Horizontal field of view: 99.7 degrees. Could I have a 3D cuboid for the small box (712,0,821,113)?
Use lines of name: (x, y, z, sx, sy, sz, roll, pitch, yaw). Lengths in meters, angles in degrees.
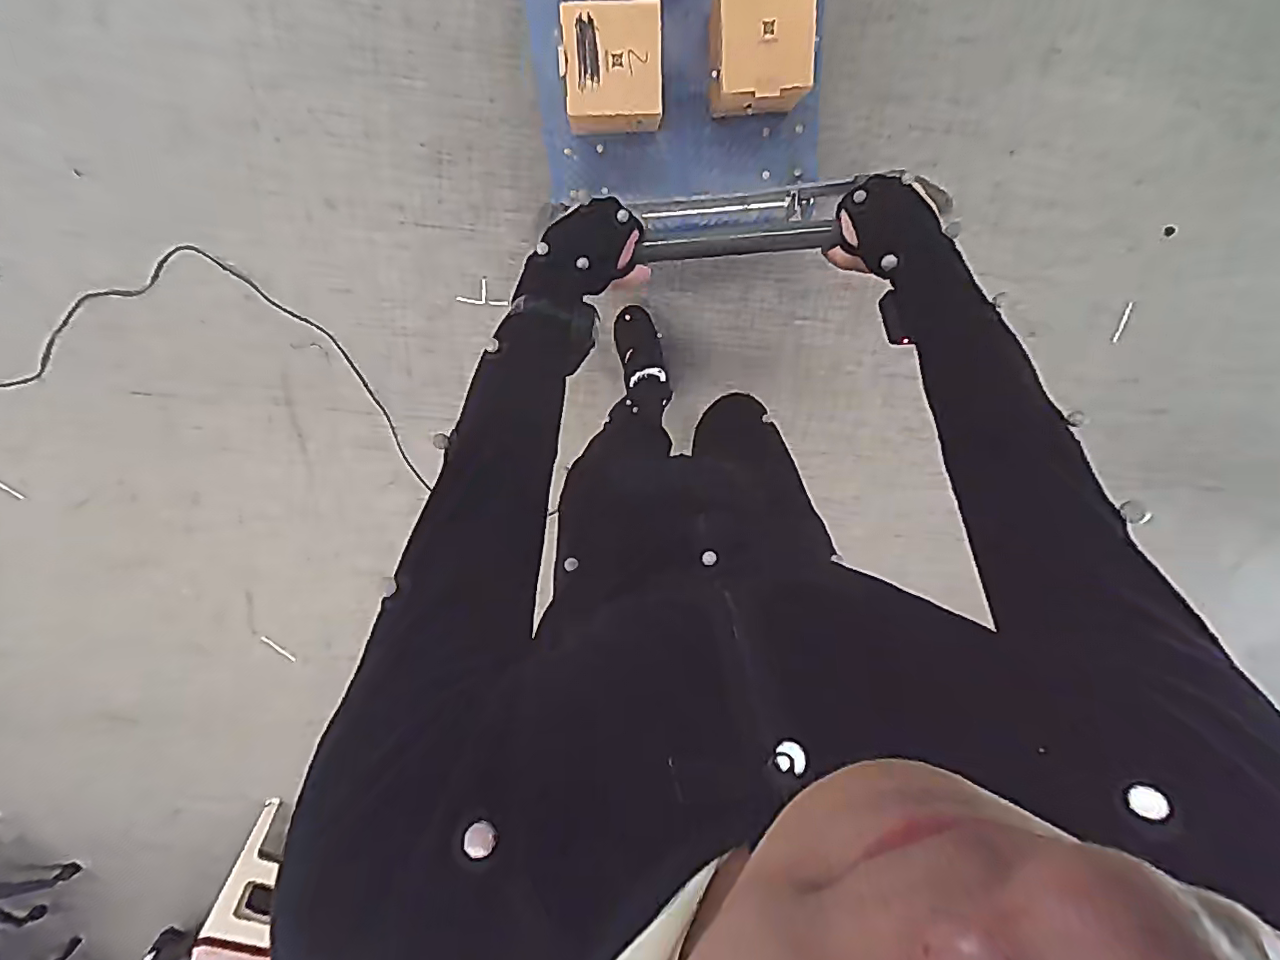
small box: (0.227, -0.813, 1.010, 0.168, 0.176, 0.179, -4, 114, 1)
